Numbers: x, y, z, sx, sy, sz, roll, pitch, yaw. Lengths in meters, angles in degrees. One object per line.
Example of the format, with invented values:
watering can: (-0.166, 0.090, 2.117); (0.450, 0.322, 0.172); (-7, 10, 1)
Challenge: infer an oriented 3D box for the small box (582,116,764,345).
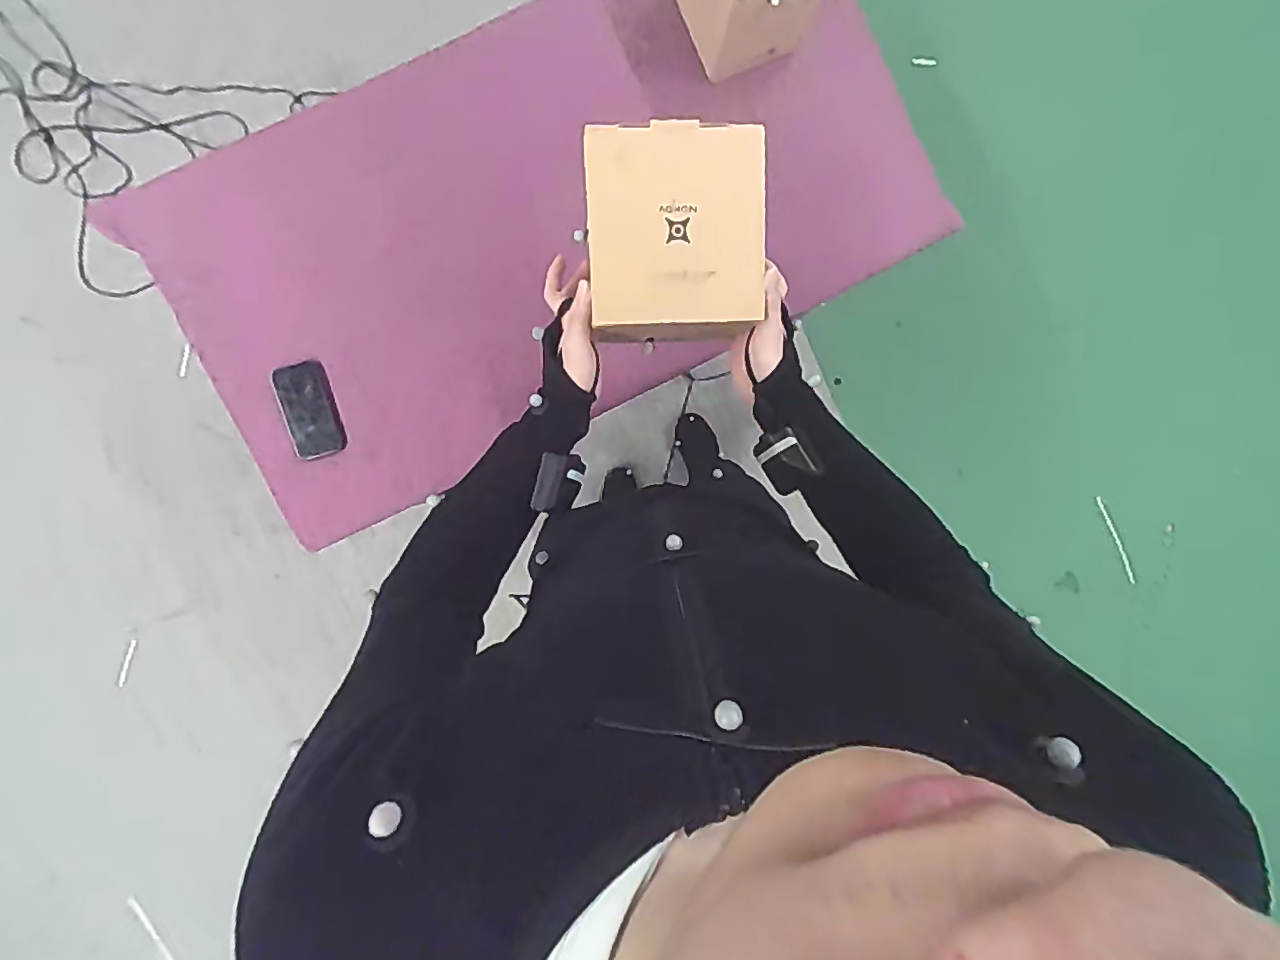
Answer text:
small box: (0.023, -0.240, 0.562); (0.168, 0.176, 0.179); (-1, 98, -4)

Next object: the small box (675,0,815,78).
small box: (0.153, -0.755, 0.794); (0.168, 0.176, 0.179); (-25, 93, -1)
